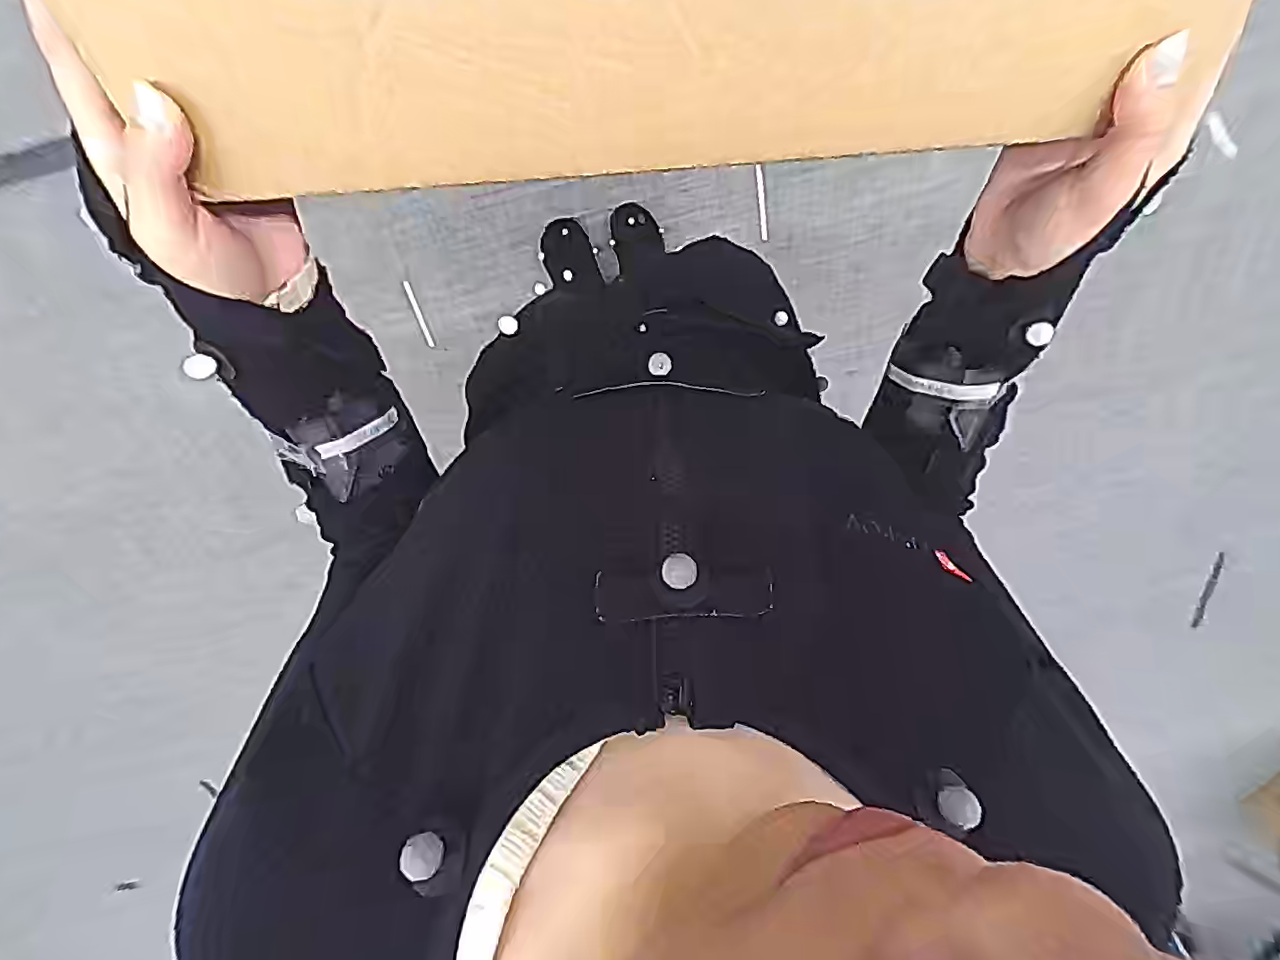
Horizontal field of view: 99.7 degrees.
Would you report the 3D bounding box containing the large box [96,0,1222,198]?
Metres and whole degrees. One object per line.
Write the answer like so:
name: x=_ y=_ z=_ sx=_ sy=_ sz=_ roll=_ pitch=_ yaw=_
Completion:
large box: x=0.001 y=-0.347 z=0.213 sx=0.408 sy=0.320 sz=0.320 roll=-5 pitch=139 yaw=-1
